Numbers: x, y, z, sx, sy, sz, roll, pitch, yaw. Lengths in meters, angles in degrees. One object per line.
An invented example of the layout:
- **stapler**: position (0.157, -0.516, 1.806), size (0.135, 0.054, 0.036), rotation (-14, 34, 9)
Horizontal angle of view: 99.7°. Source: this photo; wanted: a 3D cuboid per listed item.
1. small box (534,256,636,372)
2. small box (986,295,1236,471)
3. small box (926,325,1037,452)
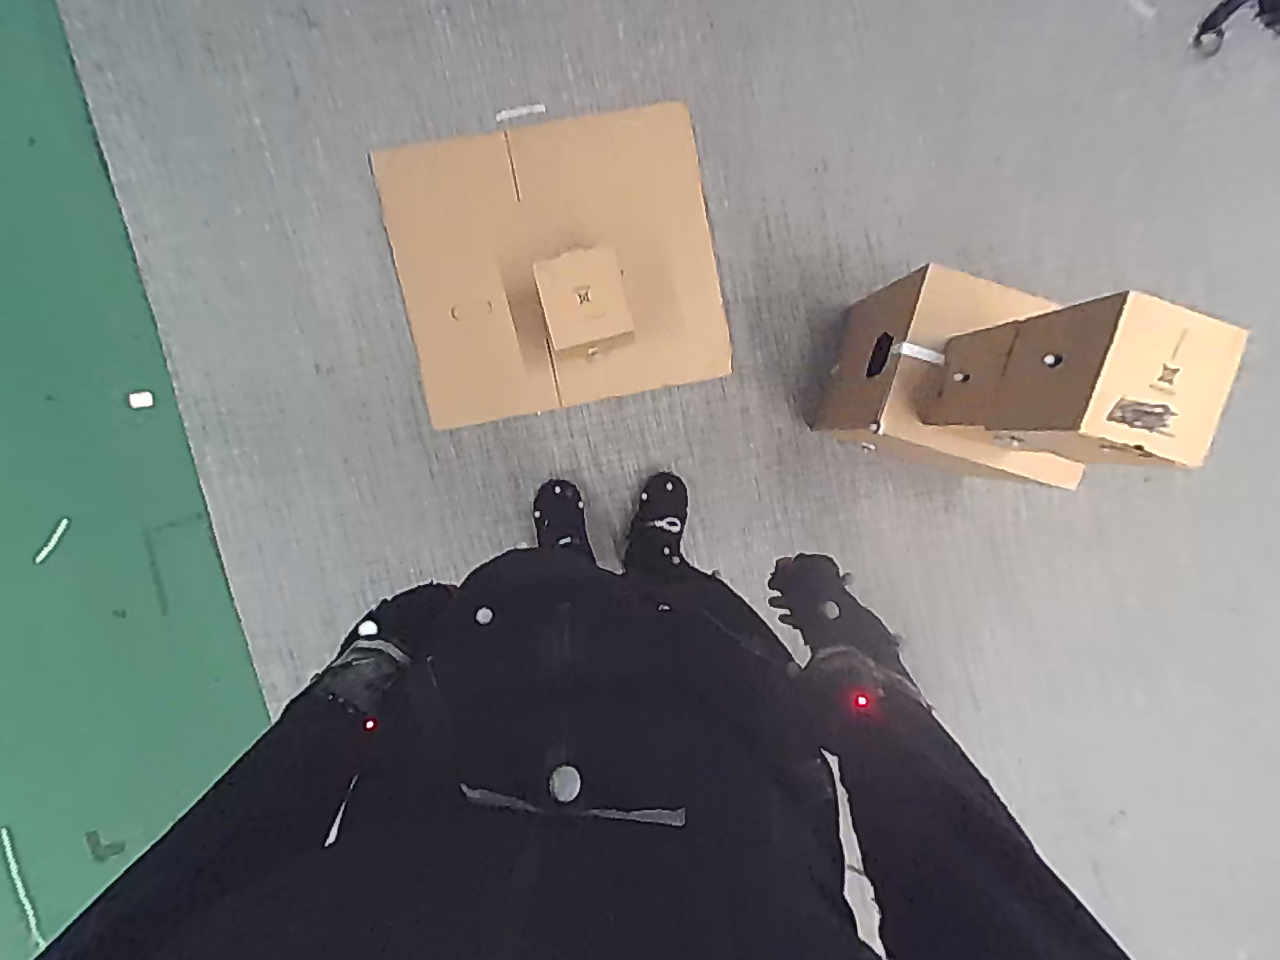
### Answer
- **small box**: position (-0.108, -0.340, 1.140), size (0.168, 0.176, 0.179), rotation (-16, 95, 2)
- **small box**: position (0.611, -0.120, 0.729), size (0.168, 0.176, 0.179), rotation (16, 92, -4)
- **small box**: position (0.611, -0.140, 0.895), size (0.179, 0.176, 0.168), rotation (11, 92, -4)
